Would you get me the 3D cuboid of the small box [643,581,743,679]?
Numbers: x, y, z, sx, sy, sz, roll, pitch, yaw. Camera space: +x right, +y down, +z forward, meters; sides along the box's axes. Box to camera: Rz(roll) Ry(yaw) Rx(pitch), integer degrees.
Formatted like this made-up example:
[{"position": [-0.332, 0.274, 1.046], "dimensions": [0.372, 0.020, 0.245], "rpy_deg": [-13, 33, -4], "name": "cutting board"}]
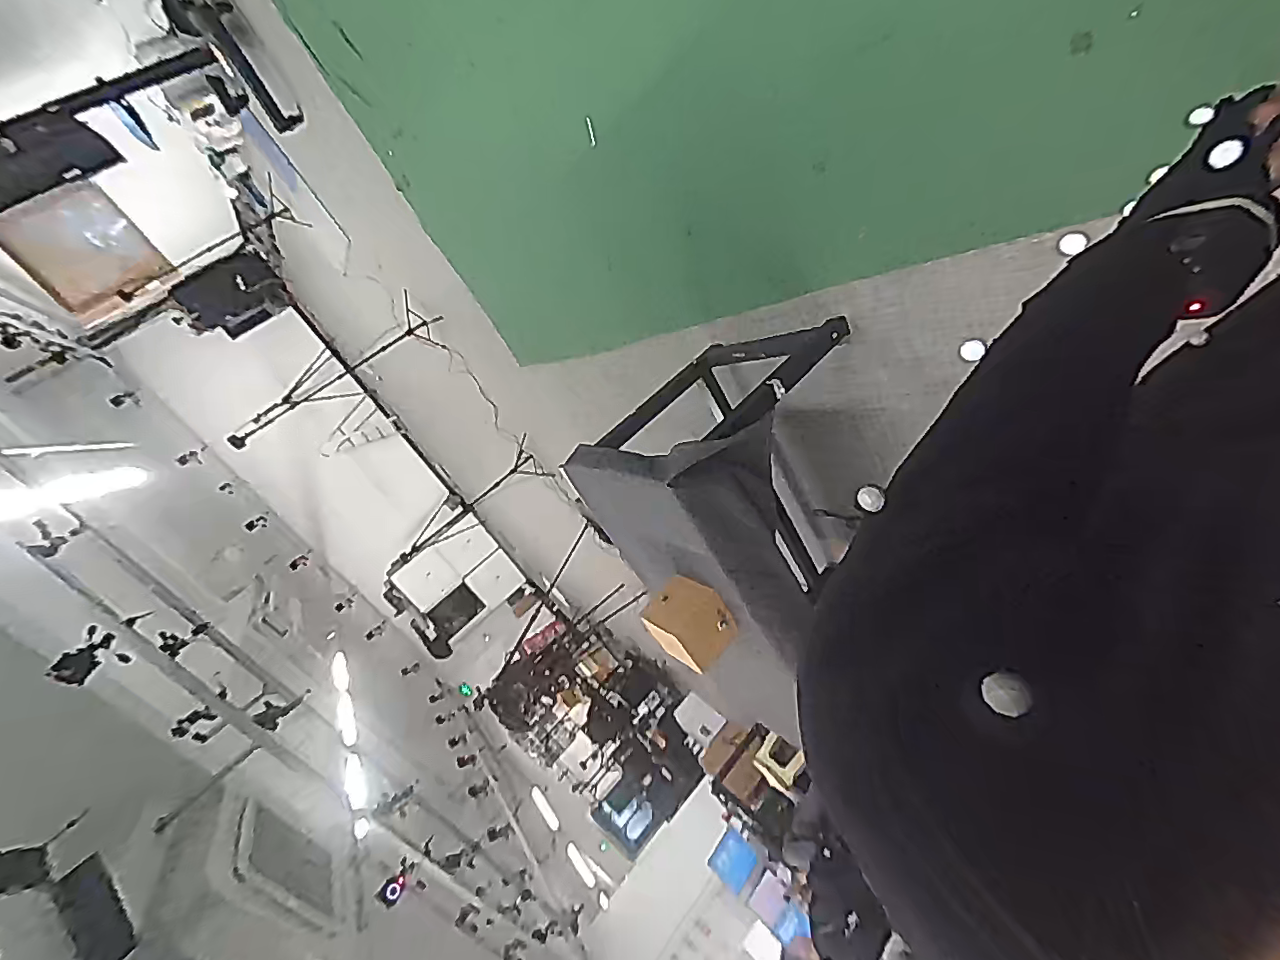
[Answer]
[{"position": [0.147, 0.399, 1.475], "dimensions": [0.179, 0.176, 0.168], "rpy_deg": [9, 138, 58], "name": "small box"}]
